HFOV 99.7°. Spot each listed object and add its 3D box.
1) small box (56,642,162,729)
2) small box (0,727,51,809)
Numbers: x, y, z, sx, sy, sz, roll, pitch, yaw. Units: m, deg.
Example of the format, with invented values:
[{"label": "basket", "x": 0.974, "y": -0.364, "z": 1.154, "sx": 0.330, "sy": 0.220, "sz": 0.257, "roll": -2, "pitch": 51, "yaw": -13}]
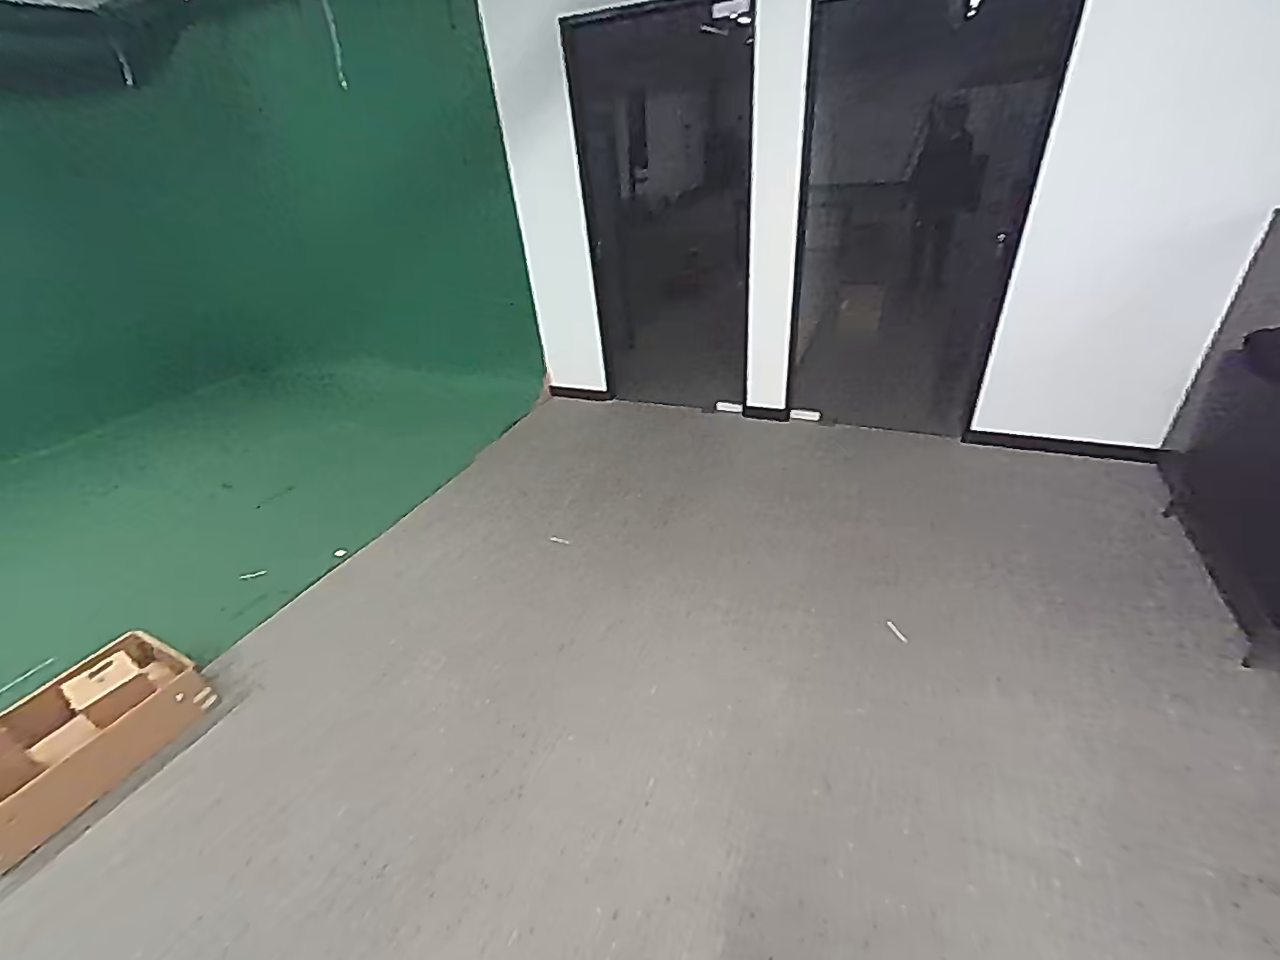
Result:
[{"label": "small box", "x": -1.719, "y": 0.670, "z": 1.757, "sx": 0.179, "sy": 0.176, "sz": 0.168, "roll": 18, "pitch": 40, "yaw": 28}, {"label": "small box", "x": -1.854, "y": 0.828, "z": 1.527, "sx": 0.168, "sy": 0.176, "sz": 0.179, "roll": 14, "pitch": 37, "yaw": 24}]
